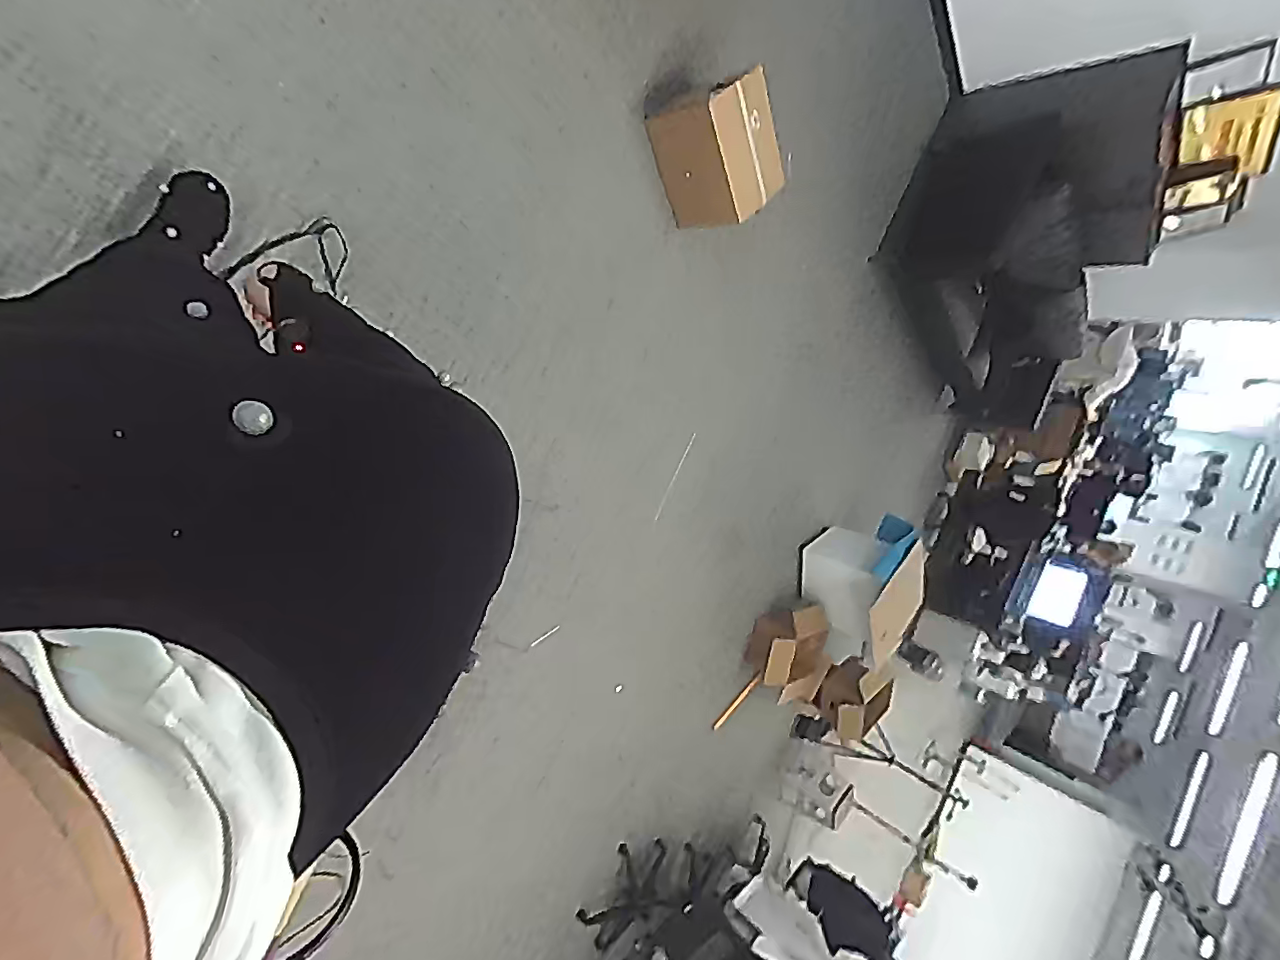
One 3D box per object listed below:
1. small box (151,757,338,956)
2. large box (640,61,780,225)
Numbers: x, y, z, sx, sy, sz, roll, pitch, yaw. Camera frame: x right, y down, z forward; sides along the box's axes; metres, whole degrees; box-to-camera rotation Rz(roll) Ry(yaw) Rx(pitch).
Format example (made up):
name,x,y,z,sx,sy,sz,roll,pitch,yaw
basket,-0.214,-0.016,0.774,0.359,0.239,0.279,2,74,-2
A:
name,x,y,z,sx,sy,sz,roll,pitch,yaw
small box,-0.600,0.544,0.816,0.168,0.176,0.179,31,83,-46
large box,0.266,-1.220,1.999,0.320,0.320,0.408,-48,132,-22
